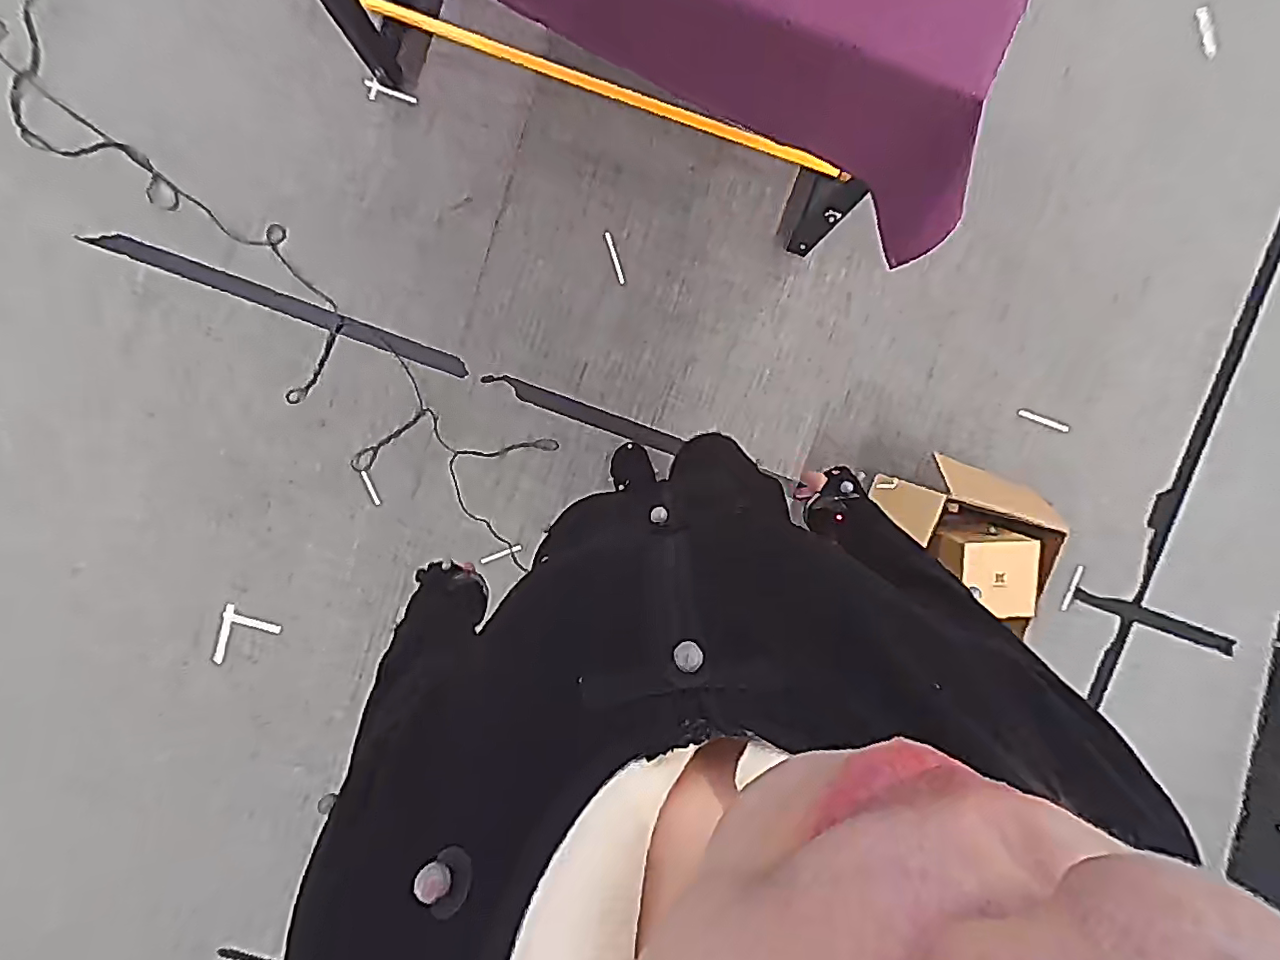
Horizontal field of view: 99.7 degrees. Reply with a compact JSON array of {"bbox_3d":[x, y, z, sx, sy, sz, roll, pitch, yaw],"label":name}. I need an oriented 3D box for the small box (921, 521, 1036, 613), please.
[{"bbox_3d":[0.784,0.196,1.268,0.168,0.176,0.179,-2,100,0],"label":"small box"}]
